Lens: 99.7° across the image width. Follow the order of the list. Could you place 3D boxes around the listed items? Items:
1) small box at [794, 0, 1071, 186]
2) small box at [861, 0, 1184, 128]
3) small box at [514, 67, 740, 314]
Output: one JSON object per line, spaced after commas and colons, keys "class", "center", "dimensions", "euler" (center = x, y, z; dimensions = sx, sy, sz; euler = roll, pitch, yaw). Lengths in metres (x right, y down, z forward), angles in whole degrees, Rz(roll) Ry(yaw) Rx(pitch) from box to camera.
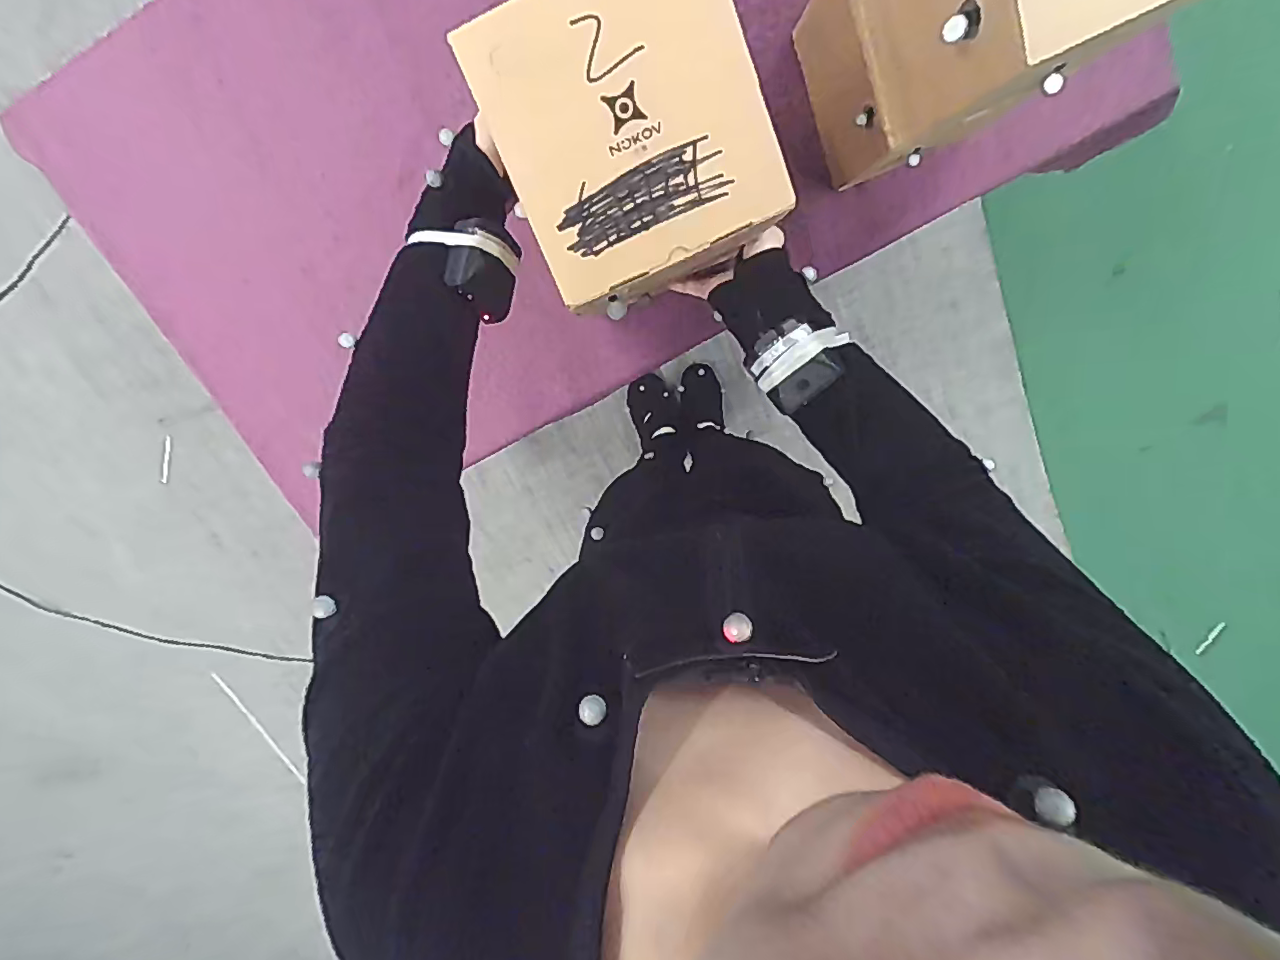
{"class": "small box", "center": [0.272, -0.430, 0.539], "dimensions": [0.168, 0.176, 0.179], "euler": [-22, 105, 6]}
{"class": "small box", "center": [0.273, -0.384, 0.380], "dimensions": [0.168, 0.176, 0.179], "euler": [-23, 105, 6]}
{"class": "small box", "center": [-0.008, -0.285, 0.581], "dimensions": [0.179, 0.176, 0.168], "euler": [-19, 105, 6]}
